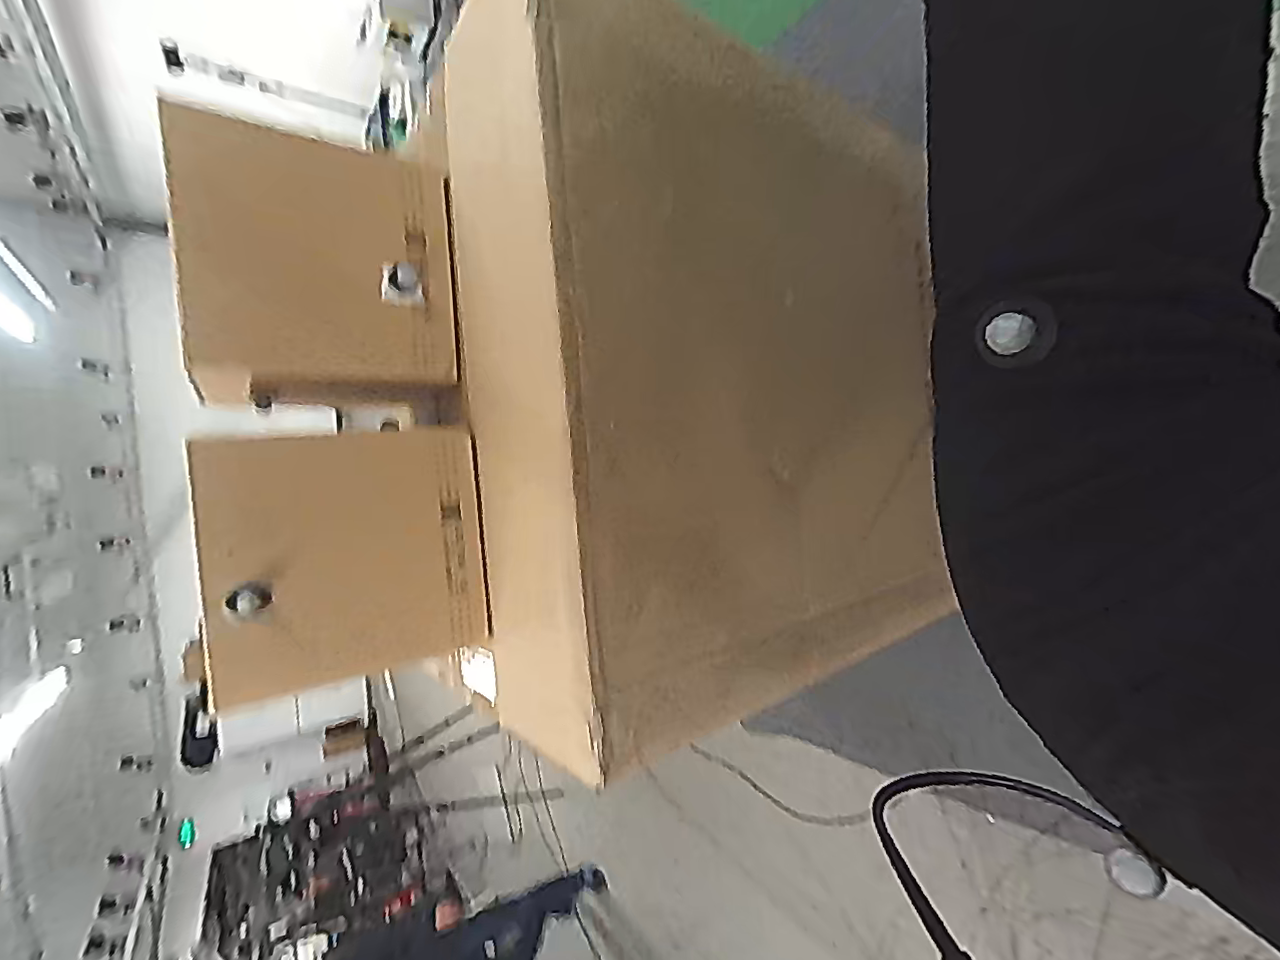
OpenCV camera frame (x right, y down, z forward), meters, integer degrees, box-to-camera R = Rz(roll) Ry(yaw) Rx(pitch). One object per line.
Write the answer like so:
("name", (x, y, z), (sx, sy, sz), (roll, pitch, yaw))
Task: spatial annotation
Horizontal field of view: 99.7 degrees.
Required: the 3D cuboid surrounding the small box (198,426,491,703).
("small box", (-0.230, 0.048, 0.429), (0.179, 0.176, 0.168), (-4, 91, 55))
